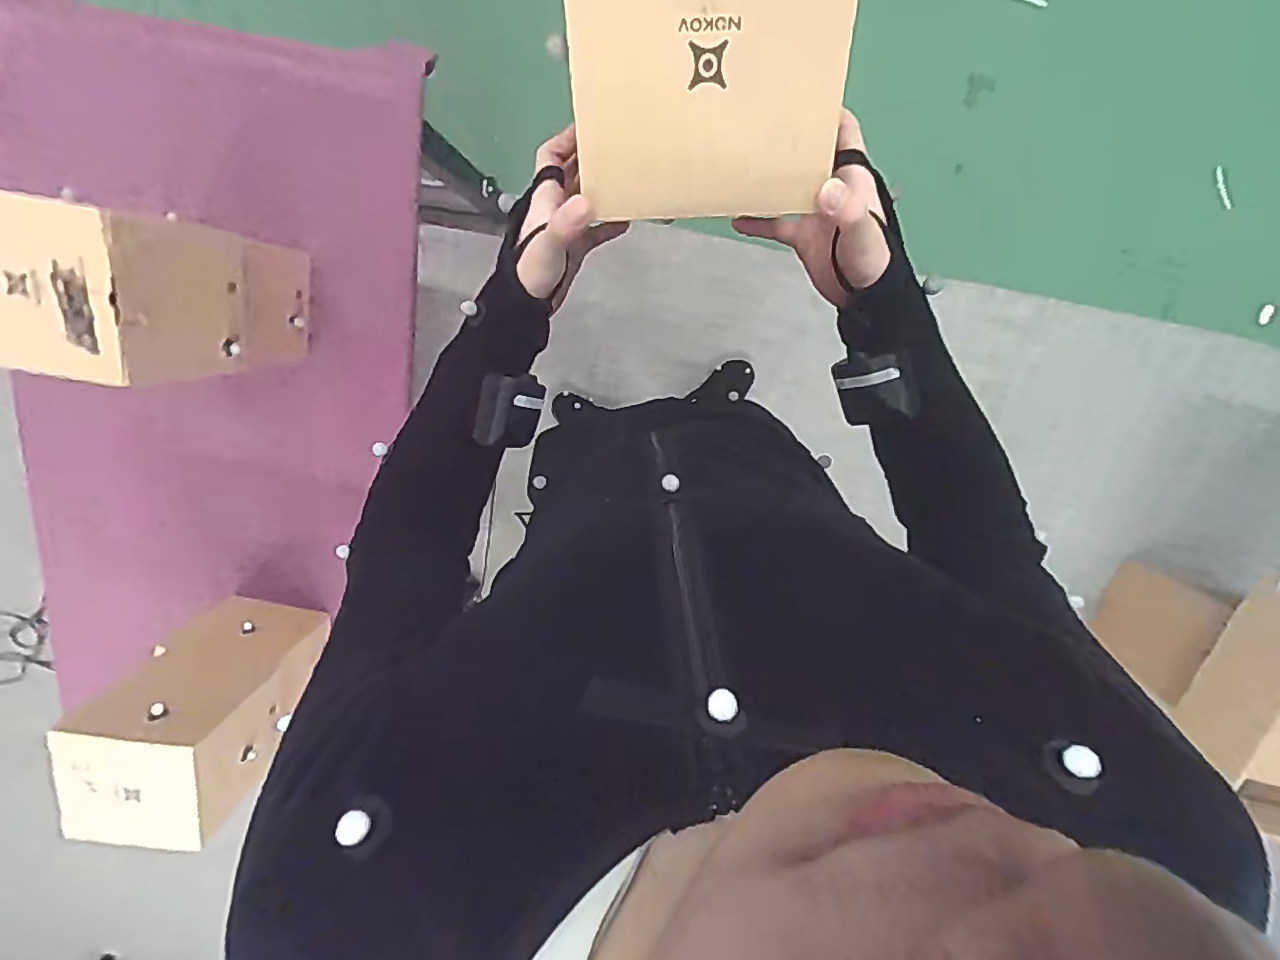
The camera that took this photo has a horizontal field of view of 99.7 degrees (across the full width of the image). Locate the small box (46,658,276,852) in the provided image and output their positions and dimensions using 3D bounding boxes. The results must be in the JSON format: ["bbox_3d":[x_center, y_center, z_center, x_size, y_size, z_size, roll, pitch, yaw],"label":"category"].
[{"bbox_3d":[-0.639,0.368,0.749,0.179,0.176,0.168,9,104,-2],"label":"small box"}]

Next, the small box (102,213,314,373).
[{"bbox_3d":[-0.596,-0.252,0.755,0.179,0.176,0.168,11,106,-1],"label":"small box"}]

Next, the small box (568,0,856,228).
[{"bbox_3d":[0.043,-0.292,0.387,0.168,0.176,0.179,-1,125,1],"label":"small box"}]

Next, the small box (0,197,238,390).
[{"bbox_3d":[-0.582,-0.204,0.597,0.179,0.176,0.168,10,106,1],"label":"small box"}]
